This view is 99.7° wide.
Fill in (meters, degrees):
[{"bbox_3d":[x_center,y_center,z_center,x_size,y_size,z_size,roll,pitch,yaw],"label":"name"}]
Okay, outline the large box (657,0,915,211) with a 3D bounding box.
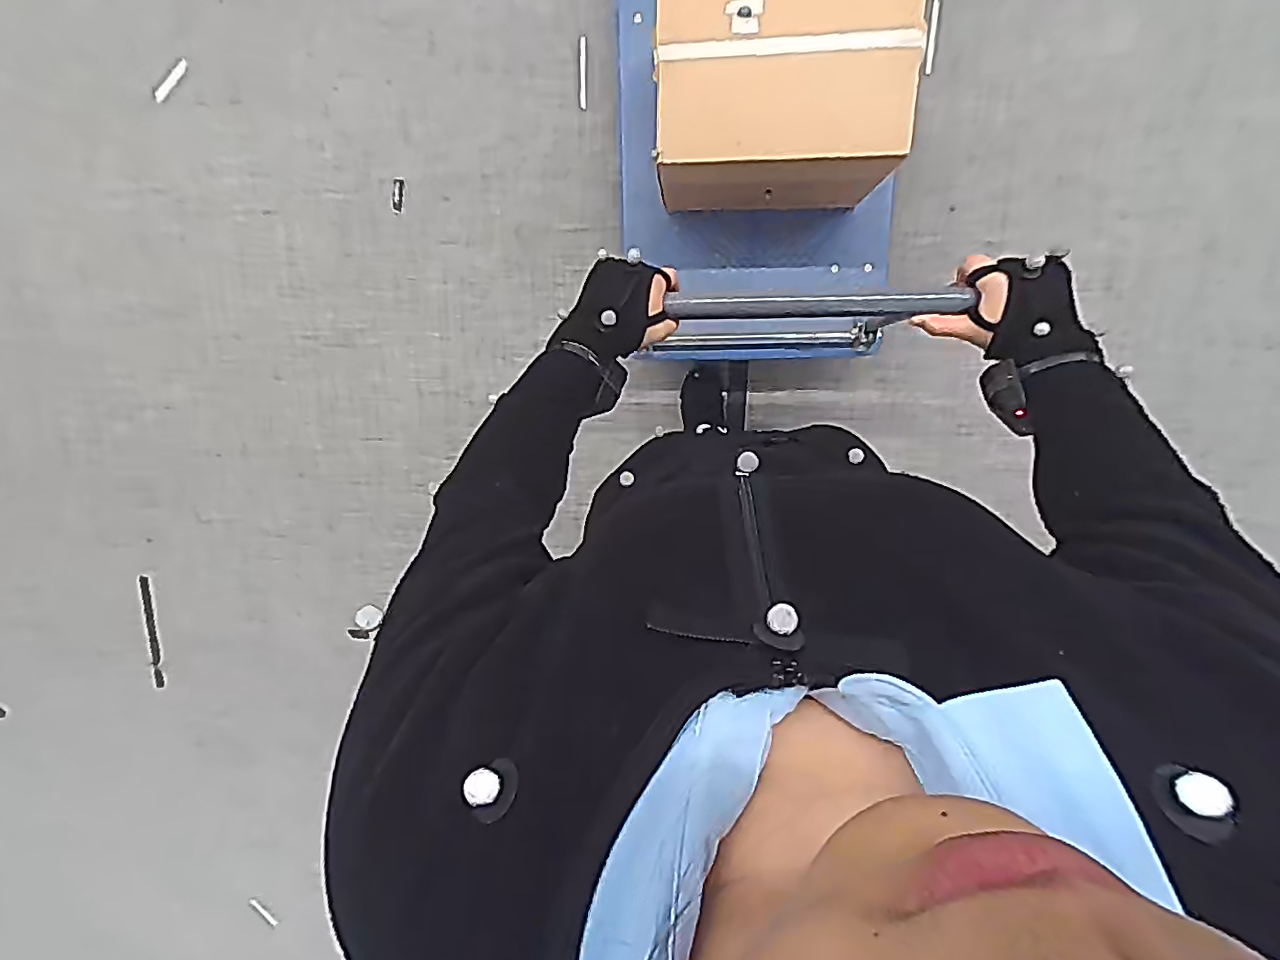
[{"bbox_3d":[0.246,-0.712,1.008,0.408,0.320,0.320,1,102,7],"label":"large box"}]
